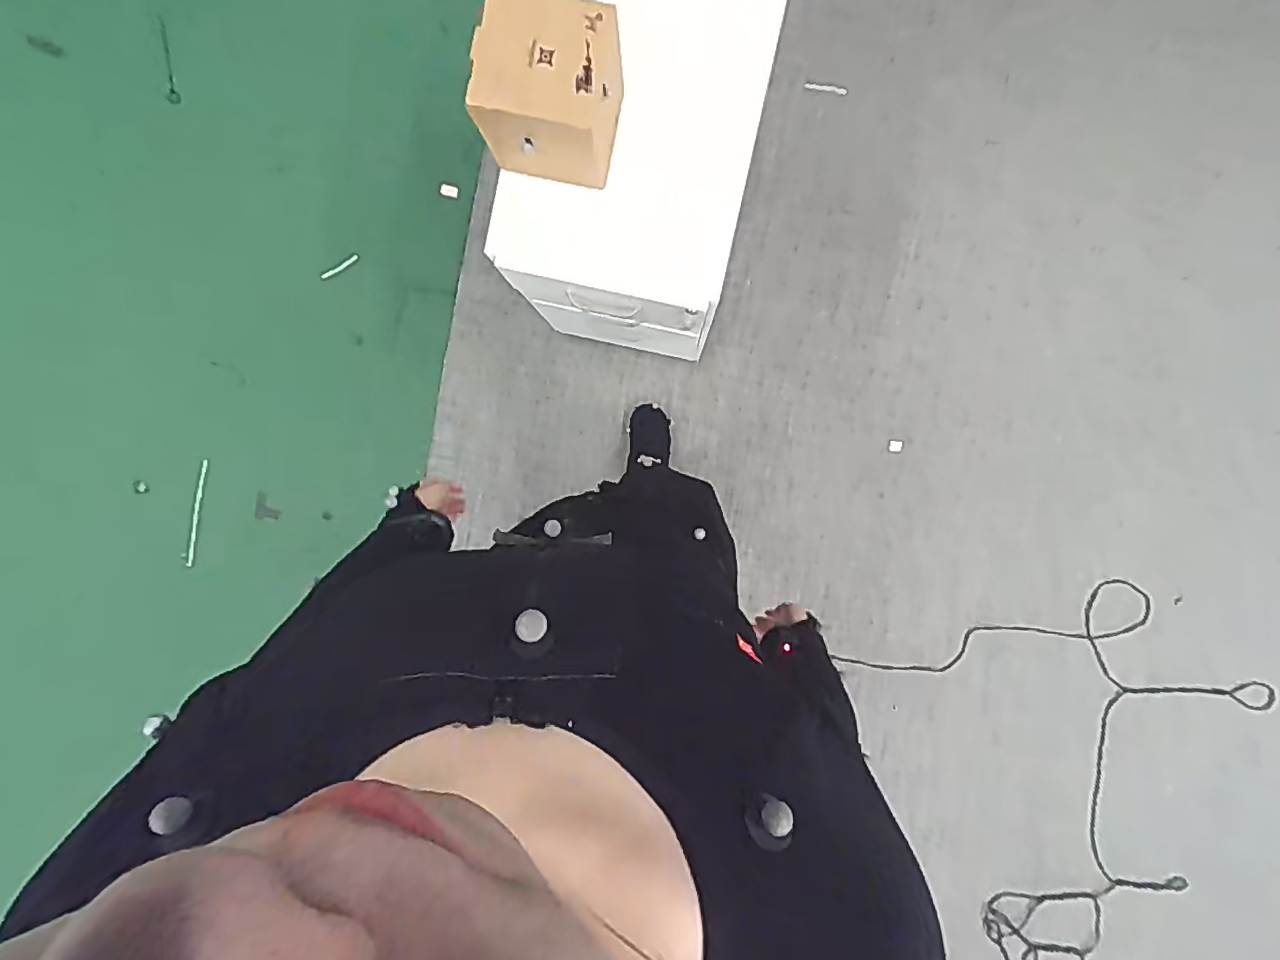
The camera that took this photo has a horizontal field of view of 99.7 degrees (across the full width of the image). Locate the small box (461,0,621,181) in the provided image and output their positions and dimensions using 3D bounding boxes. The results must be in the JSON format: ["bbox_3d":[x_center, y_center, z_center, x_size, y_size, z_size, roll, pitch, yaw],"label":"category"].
[{"bbox_3d":[-0.132,-0.566,0.785,0.179,0.176,0.168,12,94,1],"label":"small box"}]
